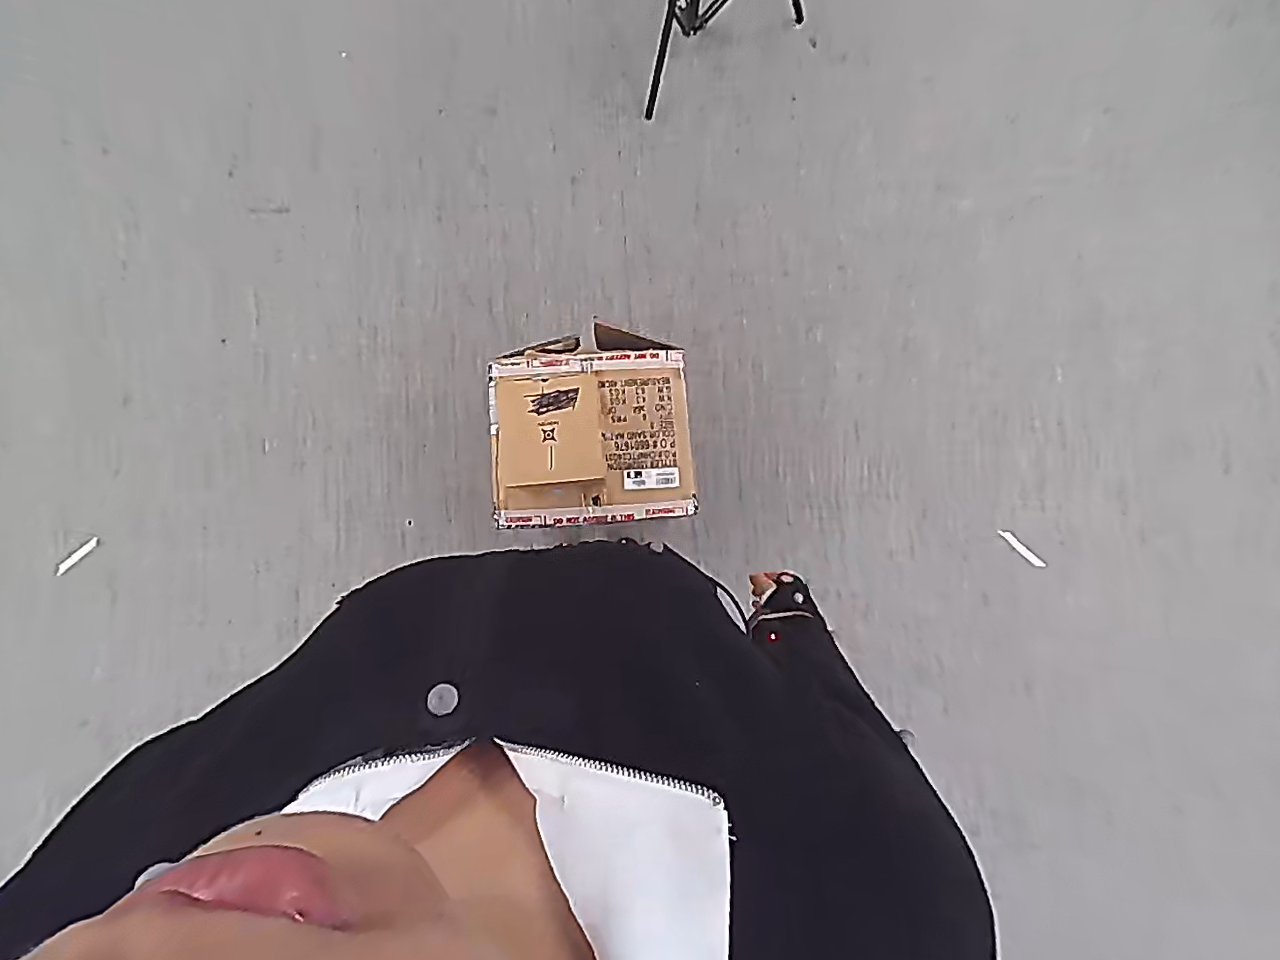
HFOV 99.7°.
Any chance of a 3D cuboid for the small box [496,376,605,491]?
[{"bbox_3d":[-0.150,-0.074,0.952,0.168,0.176,0.179,-5,88,-2],"label":"small box"}]
